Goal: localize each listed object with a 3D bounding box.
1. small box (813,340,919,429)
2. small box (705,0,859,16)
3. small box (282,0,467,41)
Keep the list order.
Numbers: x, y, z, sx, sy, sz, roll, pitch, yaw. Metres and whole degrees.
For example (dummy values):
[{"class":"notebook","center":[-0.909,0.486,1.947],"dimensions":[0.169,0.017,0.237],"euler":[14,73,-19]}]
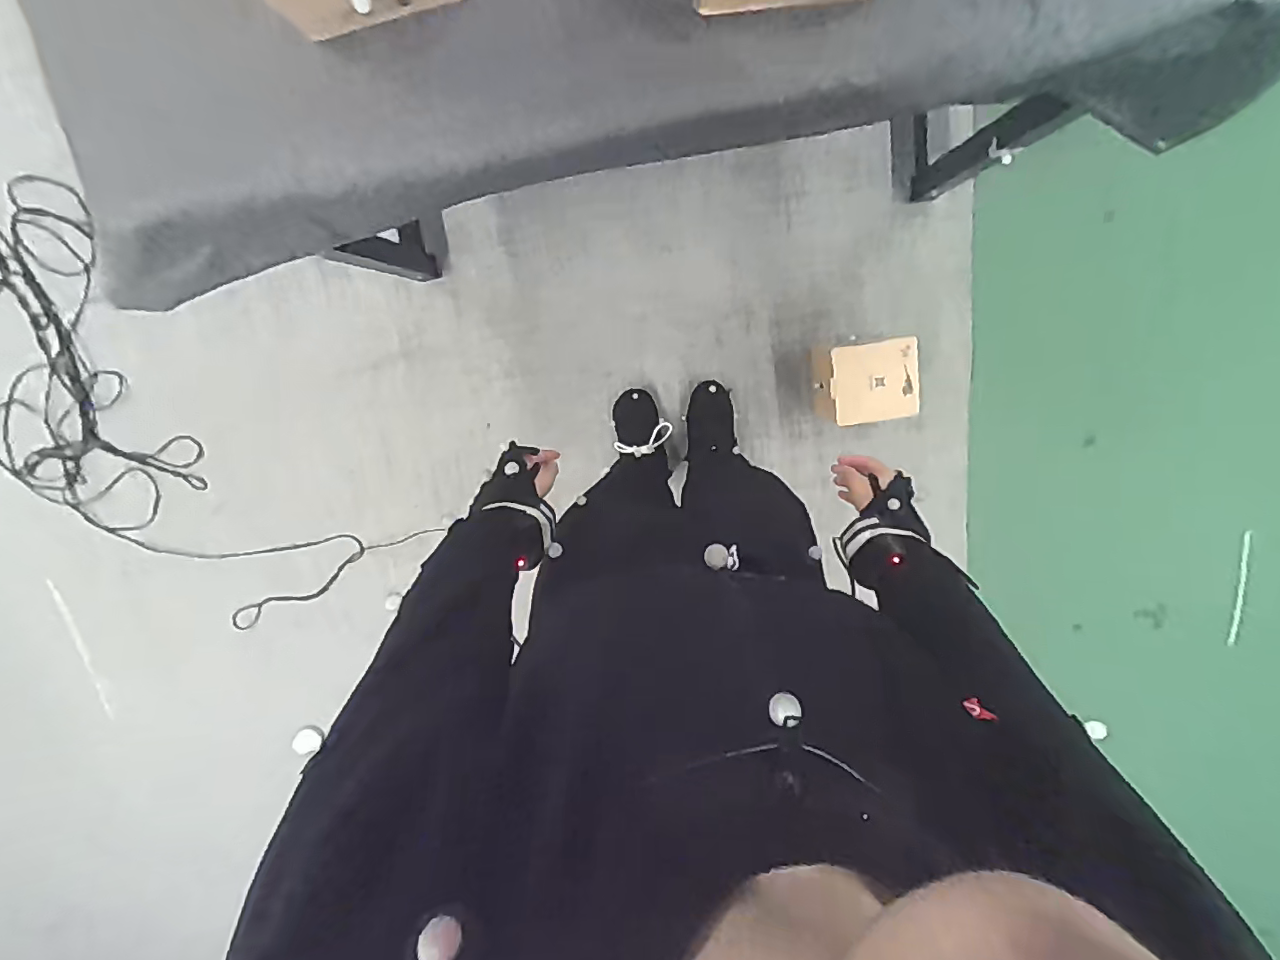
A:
[{"class":"small box","center":[0.491,-0.212,1.198],"dimensions":[0.179,0.176,0.168],"euler":[-8,102,5]},{"class":"small box","center":[0.125,-0.501,0.401],"dimensions":[0.168,0.176,0.179],"euler":[-3,103,4]},{"class":"small box","center":[-0.254,-0.501,0.420],"dimensions":[0.168,0.176,0.179],"euler":[-10,103,6]}]
